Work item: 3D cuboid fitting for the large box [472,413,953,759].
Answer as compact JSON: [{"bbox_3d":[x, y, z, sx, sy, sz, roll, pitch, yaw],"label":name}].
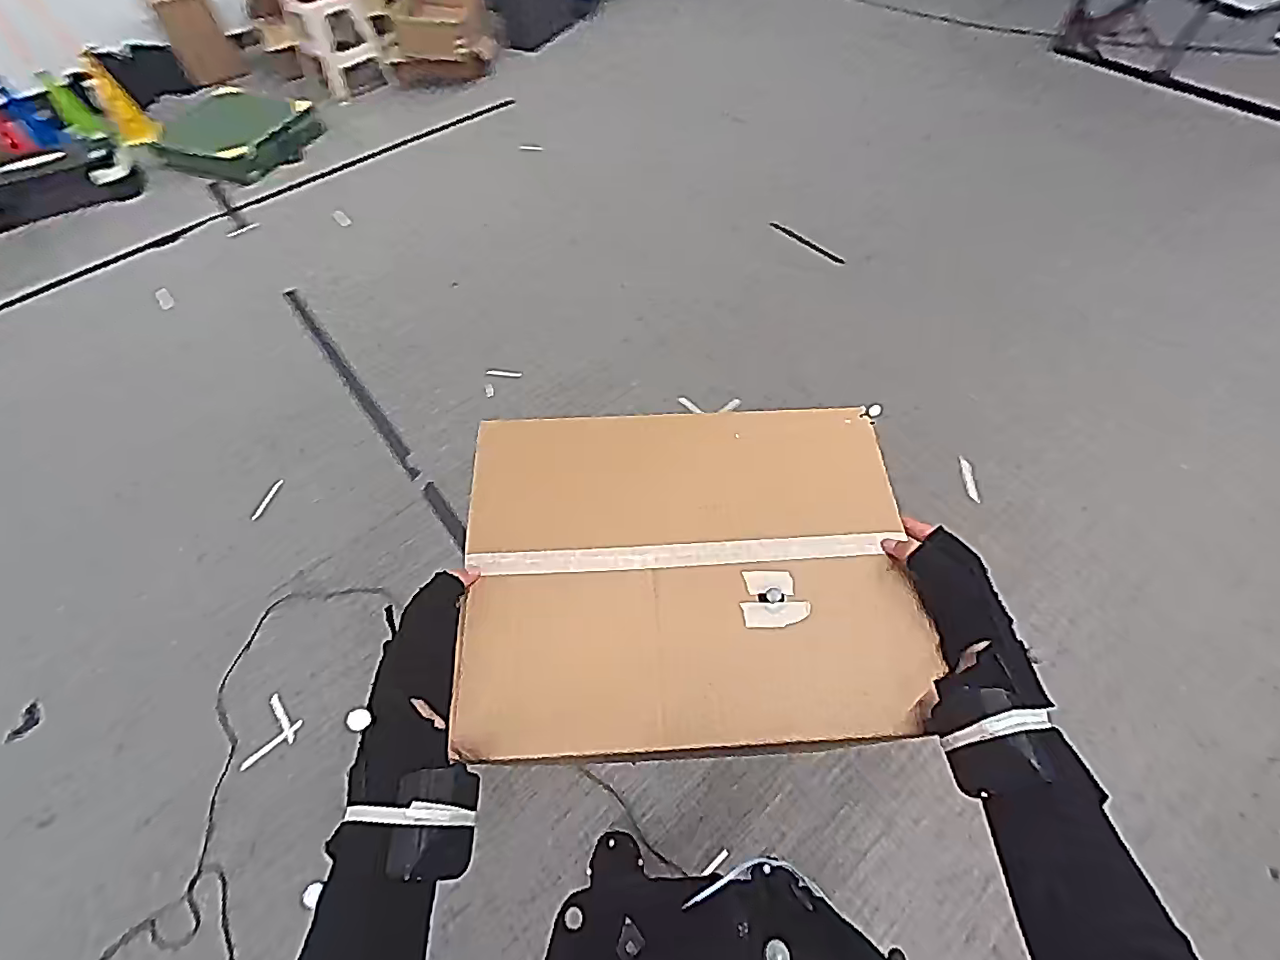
[{"bbox_3d":[0.050,0.140,0.636,0.408,0.320,0.320,-2,63,-2],"label":"large box"}]
